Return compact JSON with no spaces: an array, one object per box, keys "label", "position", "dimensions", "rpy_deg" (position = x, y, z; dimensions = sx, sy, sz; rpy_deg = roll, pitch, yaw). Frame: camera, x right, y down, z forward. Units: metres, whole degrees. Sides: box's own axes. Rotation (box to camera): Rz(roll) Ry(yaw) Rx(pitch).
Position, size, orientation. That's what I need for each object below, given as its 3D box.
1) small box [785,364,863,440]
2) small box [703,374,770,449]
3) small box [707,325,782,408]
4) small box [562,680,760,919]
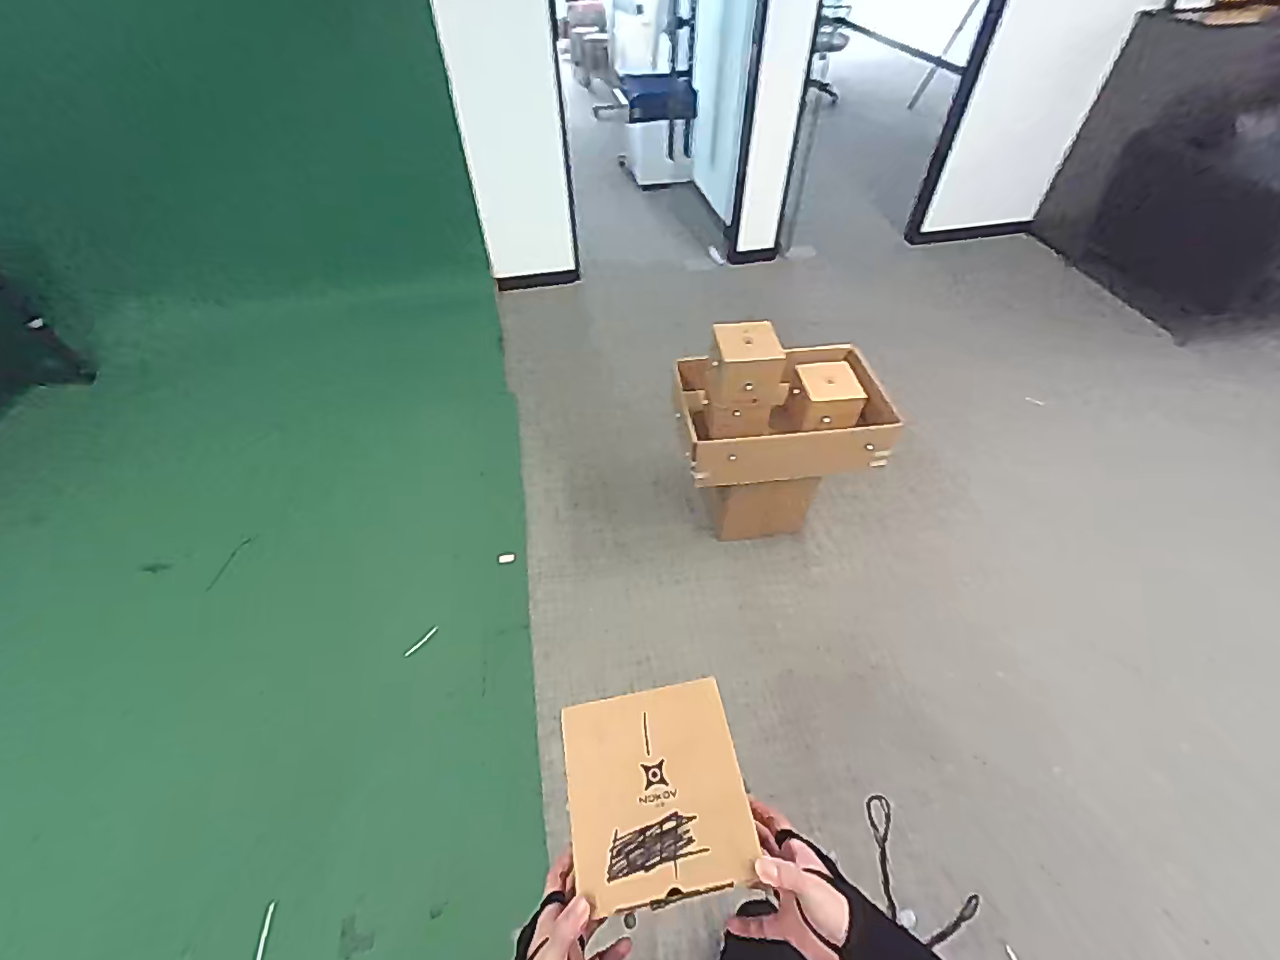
[{"label":"small box","position":[0.567,-0.237,1.686],"dimensions":[0.168,0.176,0.179],"rpy_deg":[-5,49,-3]},{"label":"small box","position":[0.289,-0.216,1.669],"dimensions":[0.168,0.176,0.179],"rpy_deg":[-4,48,-2]},{"label":"small box","position":[0.291,-0.319,1.540],"dimensions":[0.168,0.176,0.179],"rpy_deg":[-4,49,-4]},{"label":"small box","position":[0.017,0.337,0.572],"dimensions":[0.168,0.176,0.179],"rpy_deg":[-9,51,-3]}]
